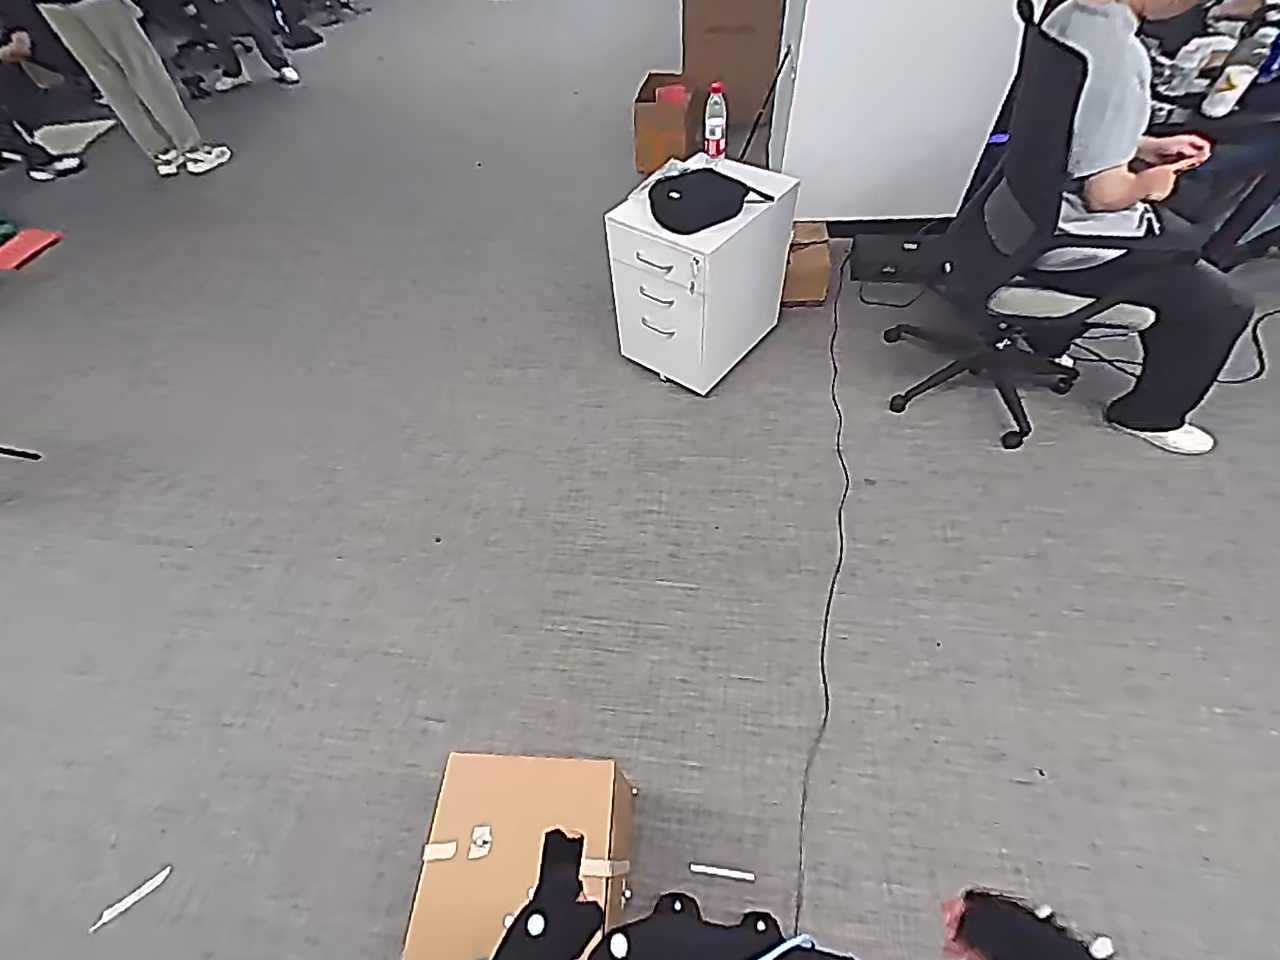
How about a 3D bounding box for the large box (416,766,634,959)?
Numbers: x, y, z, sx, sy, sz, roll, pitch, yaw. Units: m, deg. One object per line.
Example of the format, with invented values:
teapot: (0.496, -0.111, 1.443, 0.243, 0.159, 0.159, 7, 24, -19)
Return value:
large box: (-0.186, 0.754, 1.052, 0.320, 0.408, 0.320, 1, 55, 5)
